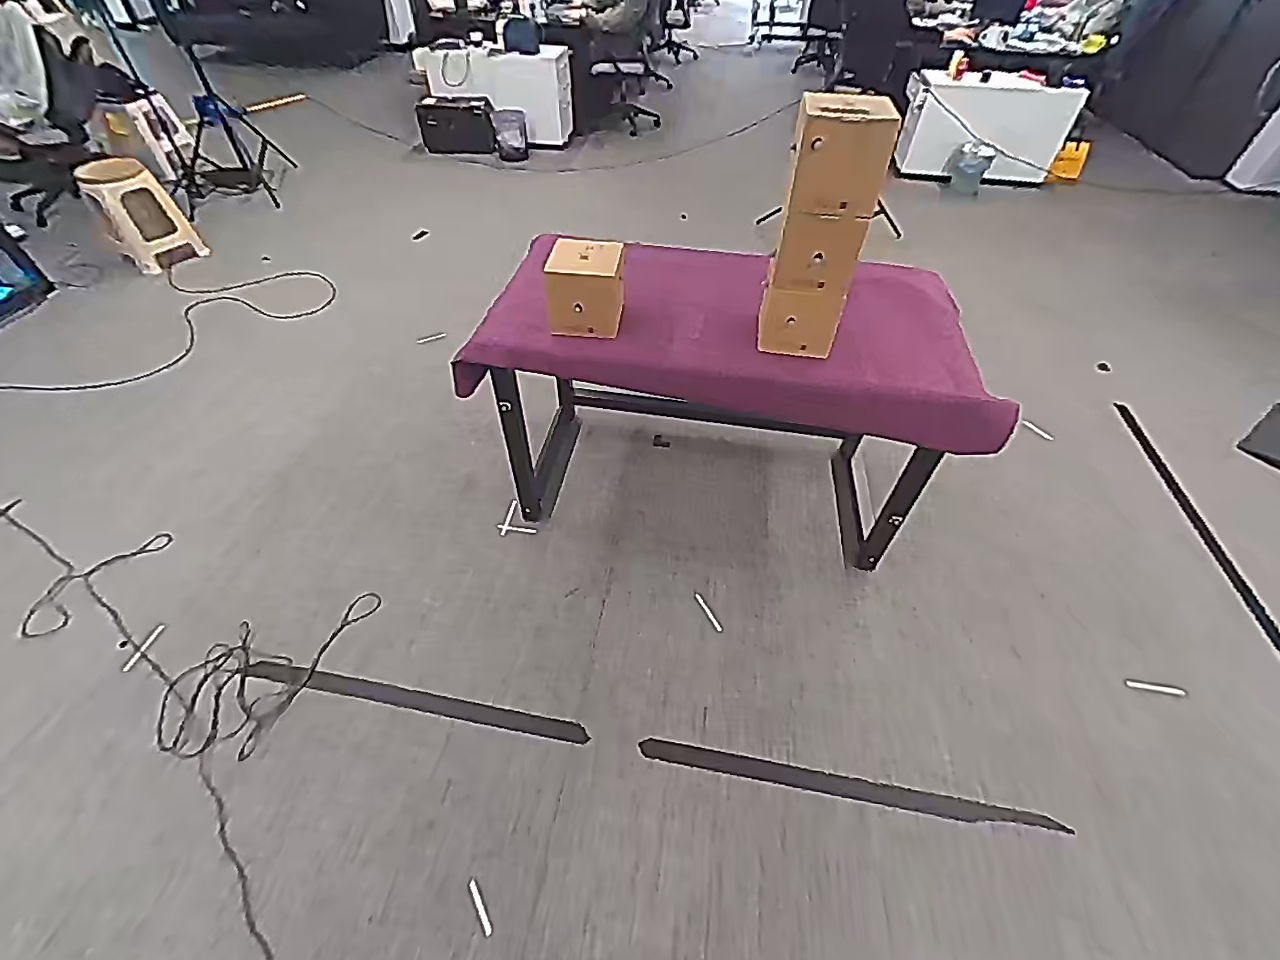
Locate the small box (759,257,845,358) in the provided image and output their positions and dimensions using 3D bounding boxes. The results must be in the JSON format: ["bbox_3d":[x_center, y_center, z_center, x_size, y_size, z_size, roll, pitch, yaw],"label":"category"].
[{"bbox_3d":[0.385,-0.415,1.310,0.168,0.176,0.179,8,48,6],"label":"small box"}]

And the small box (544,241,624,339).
[{"bbox_3d":[-0.131,-0.468,1.339,0.168,0.176,0.179,5,47,2],"label":"small box"}]

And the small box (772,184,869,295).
[{"bbox_3d":[0.389,-0.529,1.191,0.168,0.176,0.179,8,48,6],"label":"small box"}]
